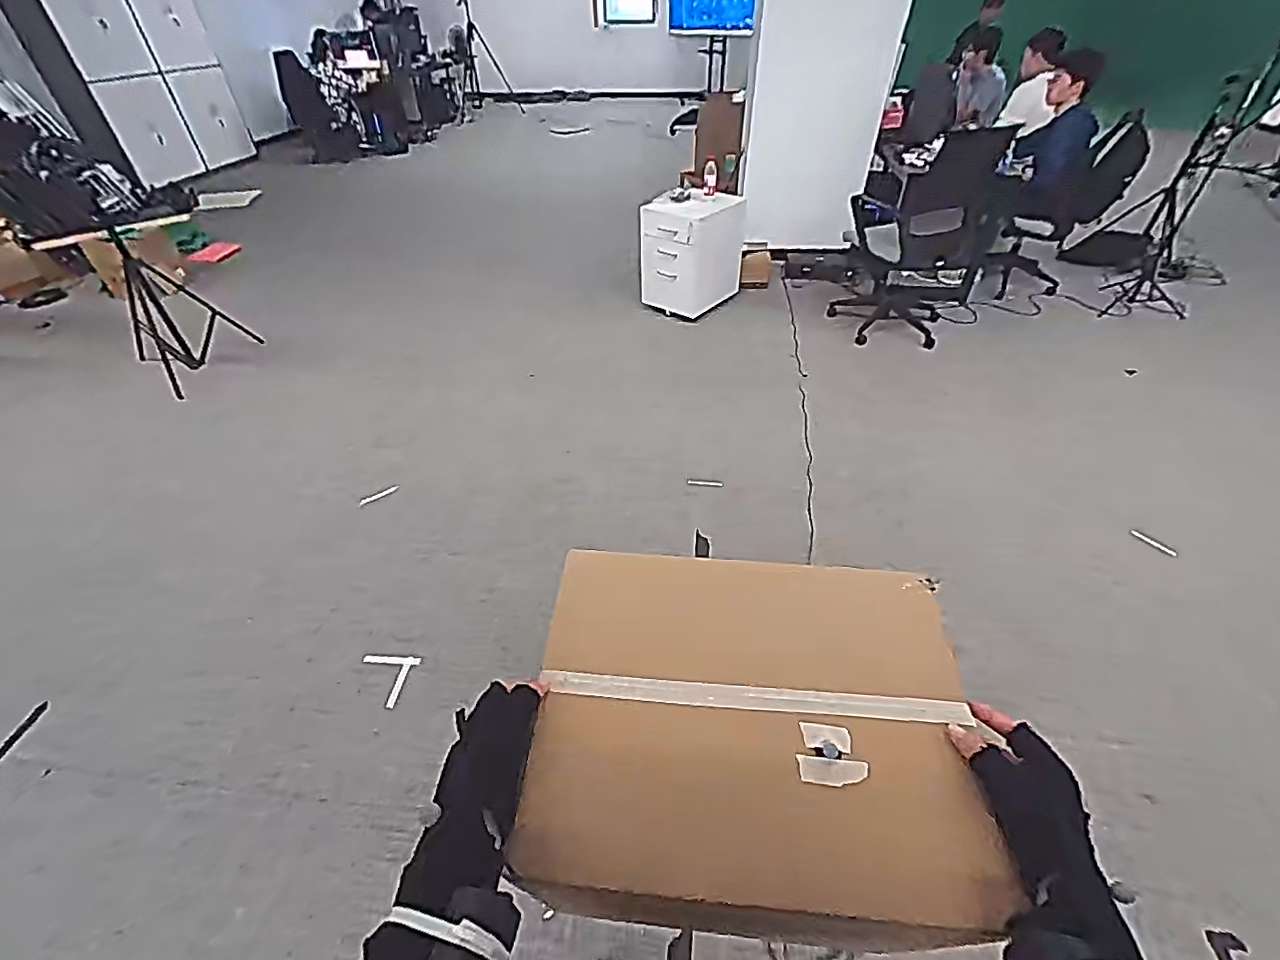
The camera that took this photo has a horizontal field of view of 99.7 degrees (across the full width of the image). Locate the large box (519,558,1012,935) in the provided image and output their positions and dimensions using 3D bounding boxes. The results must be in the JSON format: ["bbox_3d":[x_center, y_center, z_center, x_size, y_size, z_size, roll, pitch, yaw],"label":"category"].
[{"bbox_3d":[0.107,0.314,0.641,0.408,0.320,0.320,3,48,4],"label":"large box"}]
